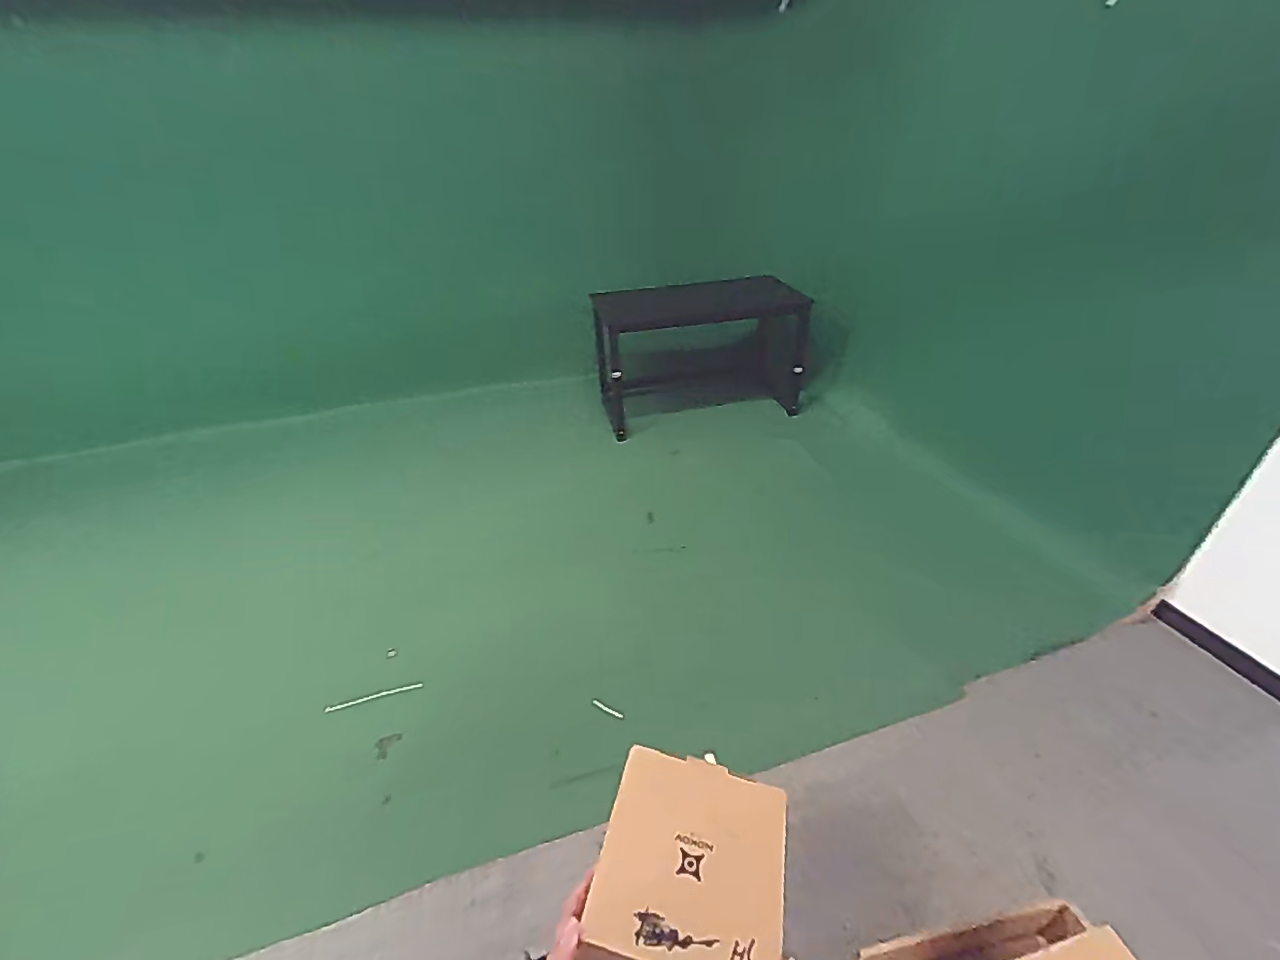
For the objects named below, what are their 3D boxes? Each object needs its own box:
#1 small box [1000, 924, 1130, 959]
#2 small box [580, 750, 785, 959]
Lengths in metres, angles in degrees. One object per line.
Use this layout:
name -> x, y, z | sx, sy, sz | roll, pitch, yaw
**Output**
small box -> 0.568, 0.728, 0.706 | 0.179, 0.176, 0.168 | -9, 36, -10
small box -> 0.041, 0.415, 0.538 | 0.168, 0.176, 0.179 | 12, 34, 9
